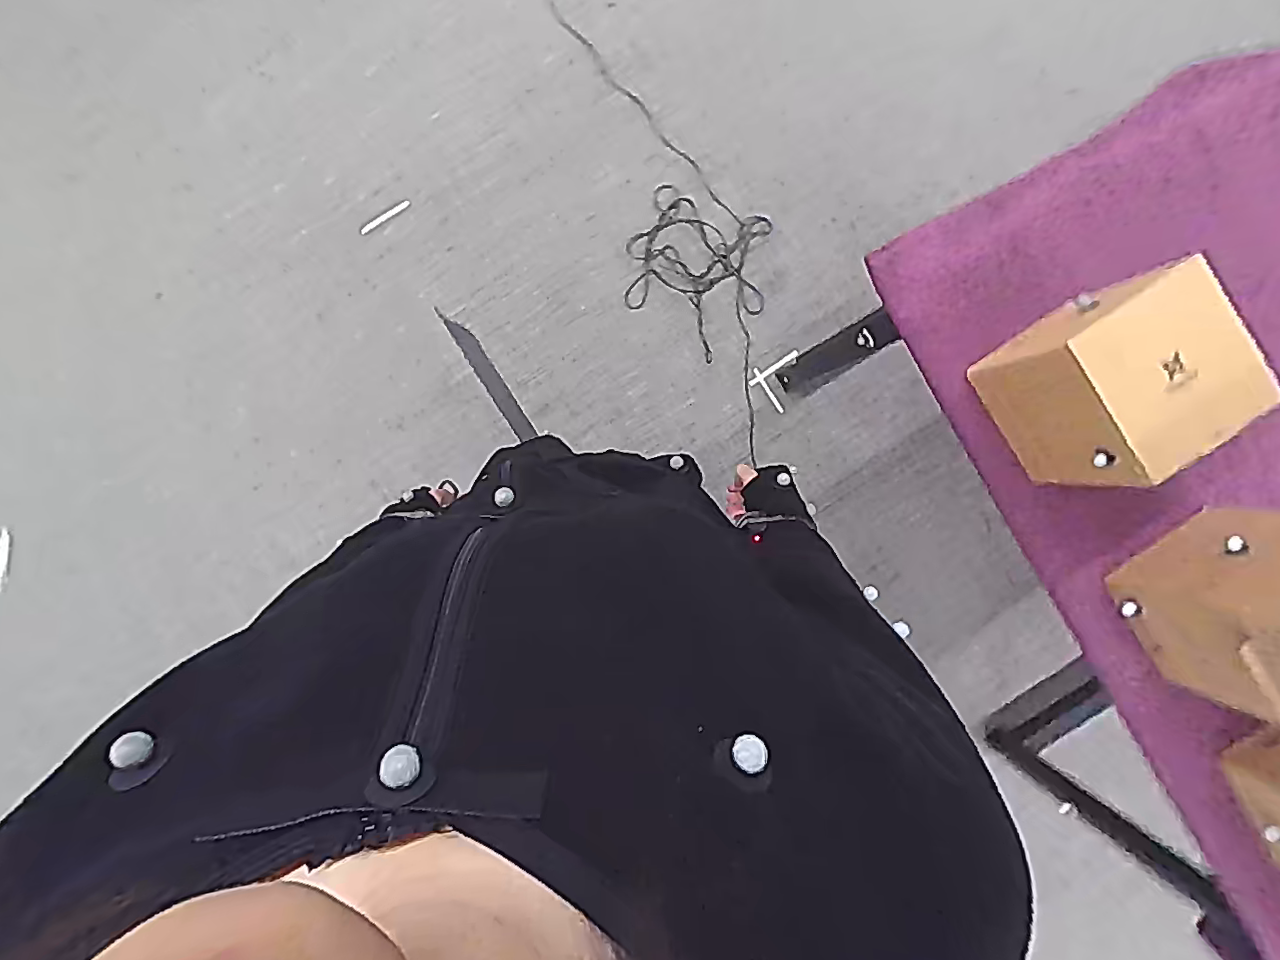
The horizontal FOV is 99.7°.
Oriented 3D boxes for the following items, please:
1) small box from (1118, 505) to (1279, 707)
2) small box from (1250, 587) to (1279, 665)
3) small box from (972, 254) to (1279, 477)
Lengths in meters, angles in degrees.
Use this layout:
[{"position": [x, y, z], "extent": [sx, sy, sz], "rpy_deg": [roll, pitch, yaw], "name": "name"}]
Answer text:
[{"position": [0.731, 0.145, 0.642], "extent": [0.179, 0.176, 0.168], "rpy_deg": [-35, 93, -1], "name": "small box"}, {"position": [0.727, 0.163, 0.477], "extent": [0.168, 0.176, 0.179], "rpy_deg": [-32, 93, 0], "name": "small box"}, {"position": [0.538, -0.117, 0.627], "extent": [0.168, 0.176, 0.179], "rpy_deg": [-34, 93, 0], "name": "small box"}]
